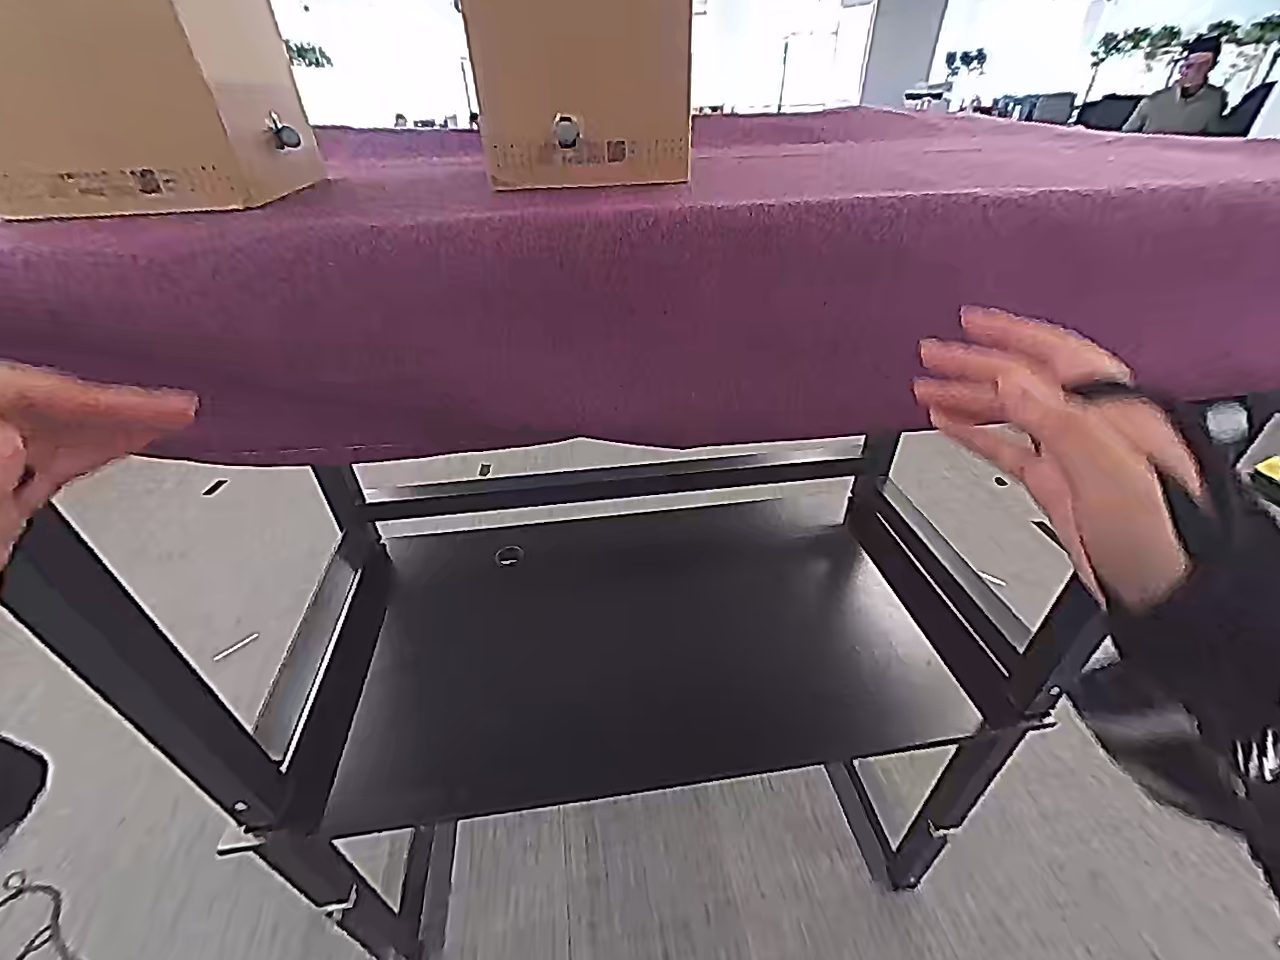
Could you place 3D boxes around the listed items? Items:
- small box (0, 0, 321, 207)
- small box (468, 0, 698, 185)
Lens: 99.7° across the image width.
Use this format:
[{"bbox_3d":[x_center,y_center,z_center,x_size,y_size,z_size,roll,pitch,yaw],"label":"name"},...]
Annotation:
[{"bbox_3d":[-0.366,-0.306,0.400,0.168,0.176,0.179,-6,36,-6],"label":"small box"},{"bbox_3d":[-0.048,-0.358,0.462,0.168,0.176,0.179,-5,36,-4],"label":"small box"}]
